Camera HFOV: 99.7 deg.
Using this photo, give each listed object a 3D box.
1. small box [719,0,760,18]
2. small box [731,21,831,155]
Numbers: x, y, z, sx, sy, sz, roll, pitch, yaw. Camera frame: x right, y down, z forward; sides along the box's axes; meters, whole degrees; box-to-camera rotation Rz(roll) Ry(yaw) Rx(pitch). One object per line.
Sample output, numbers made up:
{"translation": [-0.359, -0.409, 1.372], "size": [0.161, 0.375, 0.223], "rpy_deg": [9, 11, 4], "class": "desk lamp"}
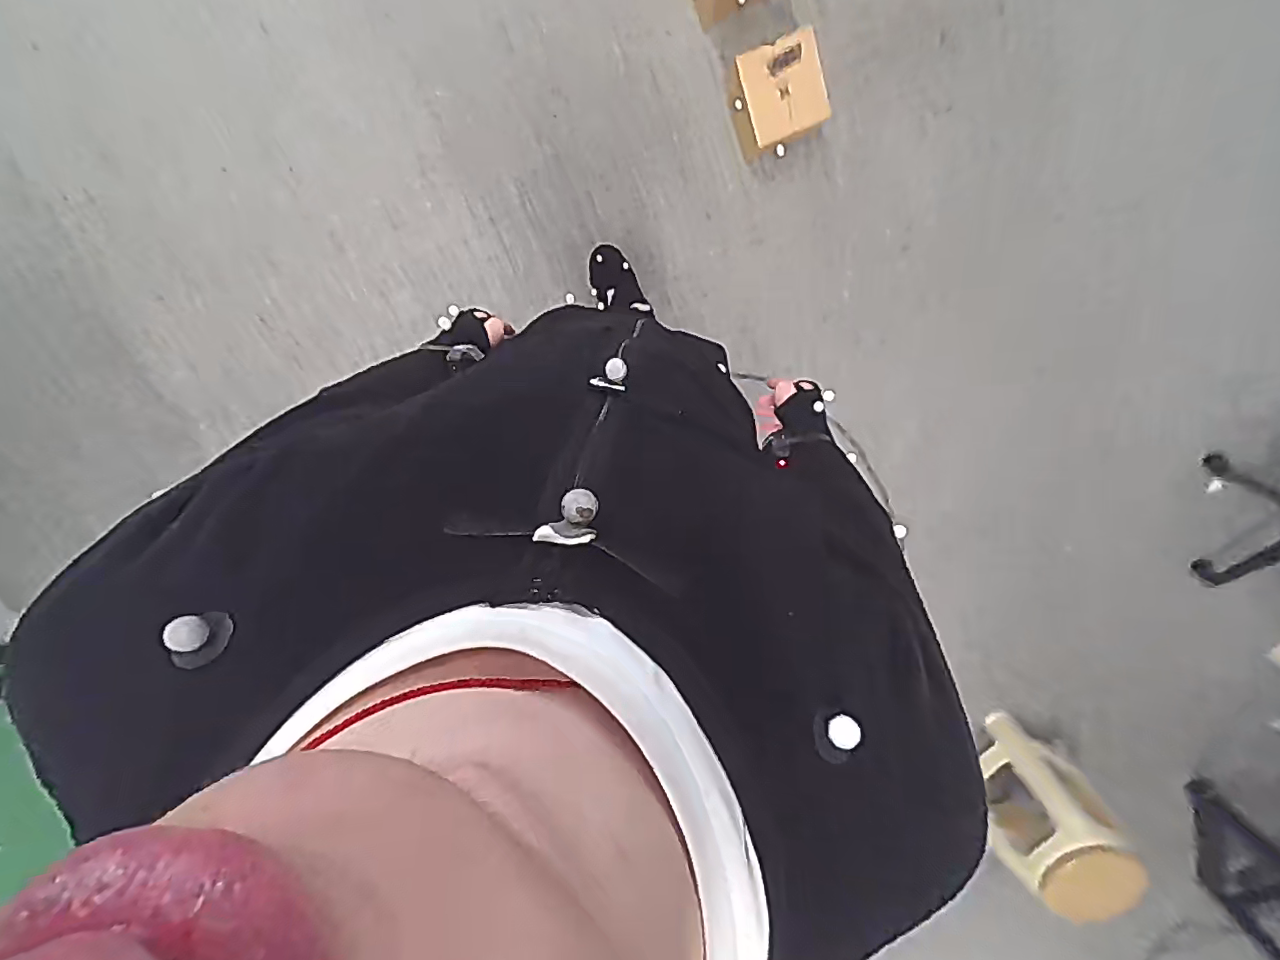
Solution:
{"translation": [0.214, -1.117, 1.110], "size": [0.179, 0.176, 0.168], "rpy_deg": [35, 104, -11], "class": "small box"}
{"translation": [0.308, -0.863, 1.208], "size": [0.168, 0.176, 0.179], "rpy_deg": [-14, 109, 7], "class": "small box"}
